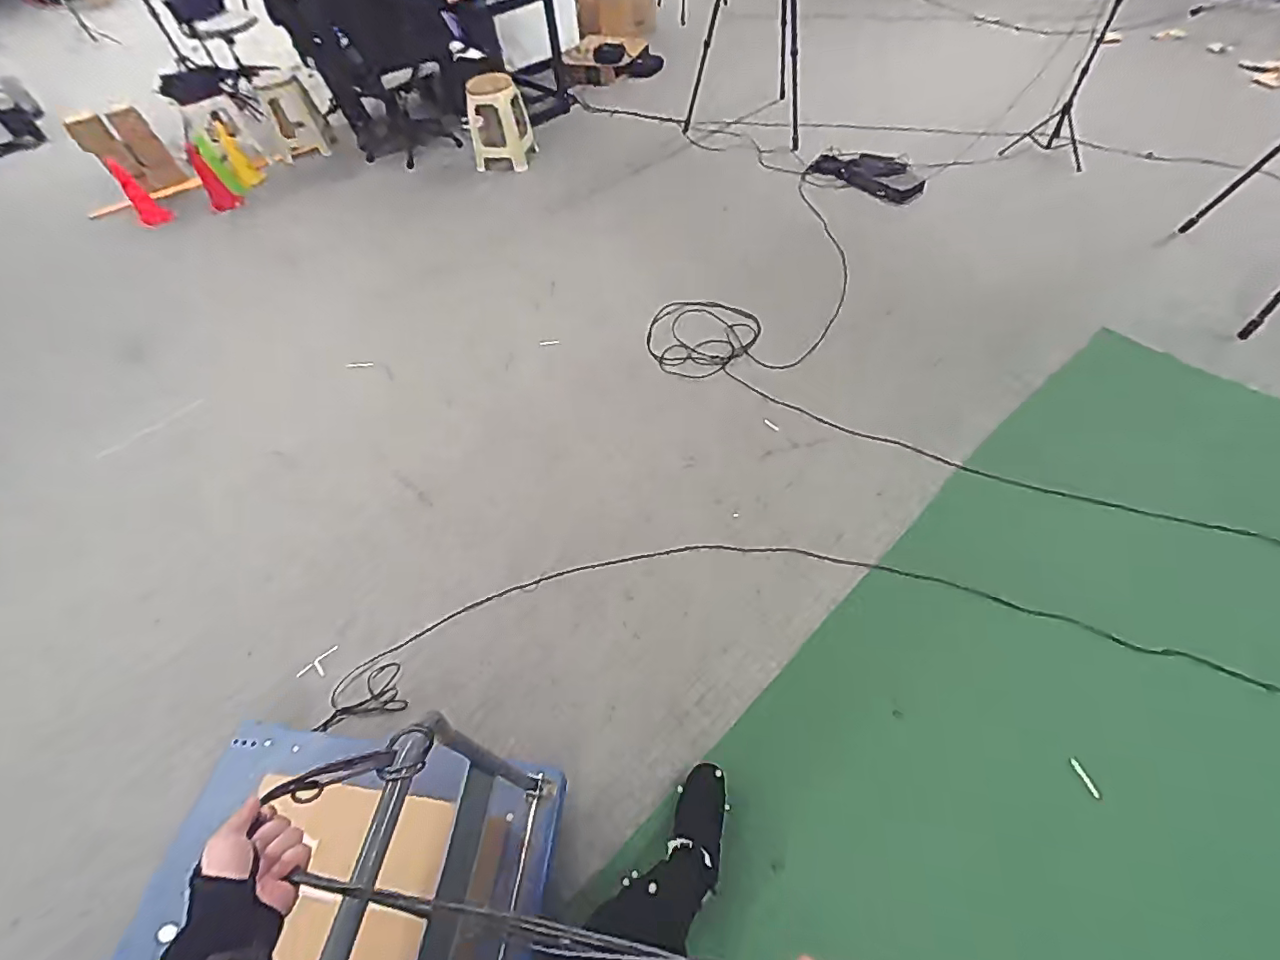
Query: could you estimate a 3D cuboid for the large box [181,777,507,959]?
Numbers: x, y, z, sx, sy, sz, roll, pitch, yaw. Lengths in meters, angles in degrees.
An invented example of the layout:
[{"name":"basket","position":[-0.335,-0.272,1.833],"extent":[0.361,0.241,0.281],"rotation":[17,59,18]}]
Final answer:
[{"name":"large box","position":[-0.516,0.781,1.028],"extent":[0.408,0.320,0.320],"rotation":[3,53,9]}]
